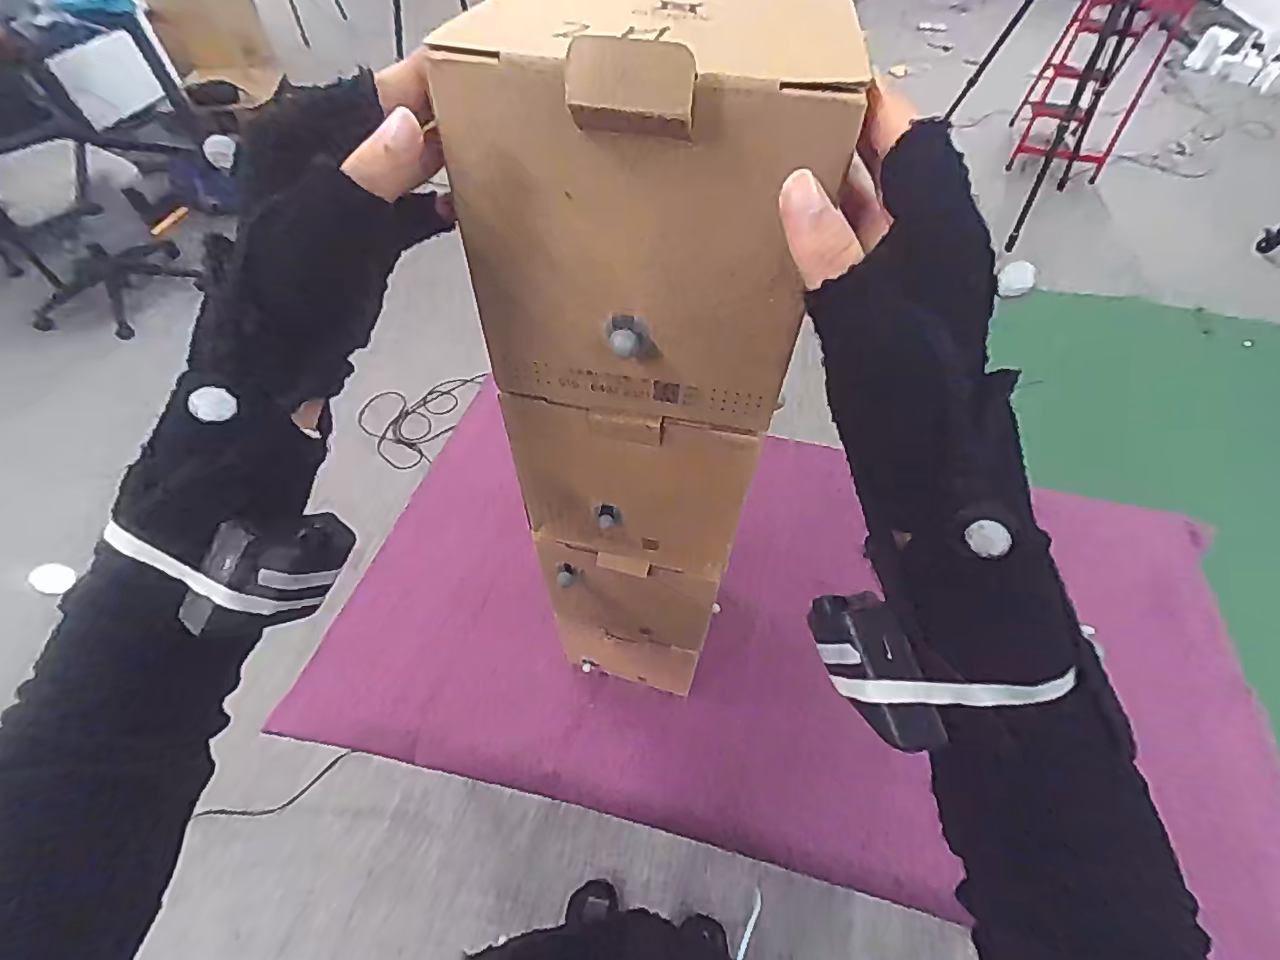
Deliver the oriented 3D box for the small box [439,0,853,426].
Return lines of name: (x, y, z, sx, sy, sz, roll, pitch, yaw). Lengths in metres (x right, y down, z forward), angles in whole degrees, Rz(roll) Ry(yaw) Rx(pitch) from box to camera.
small box: (0.012, -0.159, 0.318, 0.168, 0.176, 0.179, 10, 52, 6)

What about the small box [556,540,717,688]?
small box: (0.006, 0.148, 0.704, 0.168, 0.176, 0.179, 13, 54, 9)

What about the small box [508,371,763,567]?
small box: (0.009, -0.056, 0.448, 0.168, 0.176, 0.179, 11, 53, 7)
